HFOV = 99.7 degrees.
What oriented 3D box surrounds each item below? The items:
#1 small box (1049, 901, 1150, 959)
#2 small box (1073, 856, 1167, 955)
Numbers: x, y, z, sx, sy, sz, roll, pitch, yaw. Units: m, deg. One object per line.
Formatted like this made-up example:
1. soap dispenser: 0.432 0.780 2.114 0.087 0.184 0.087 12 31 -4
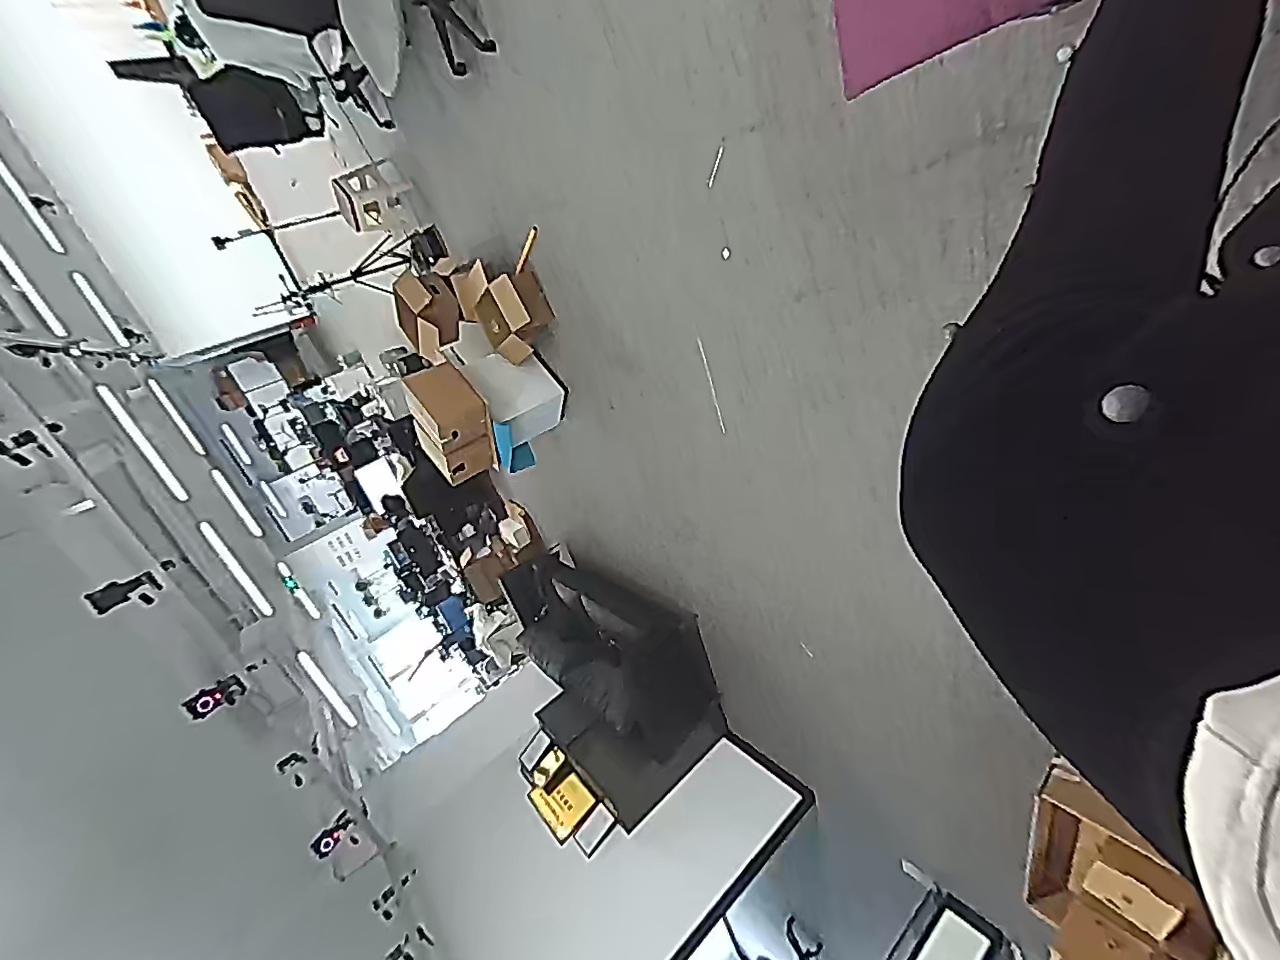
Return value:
1. small box: 1.212 1.285 1.431 0.168 0.176 0.179 18 130 51
2. small box: 1.334 1.214 1.510 0.168 0.176 0.179 17 131 50
